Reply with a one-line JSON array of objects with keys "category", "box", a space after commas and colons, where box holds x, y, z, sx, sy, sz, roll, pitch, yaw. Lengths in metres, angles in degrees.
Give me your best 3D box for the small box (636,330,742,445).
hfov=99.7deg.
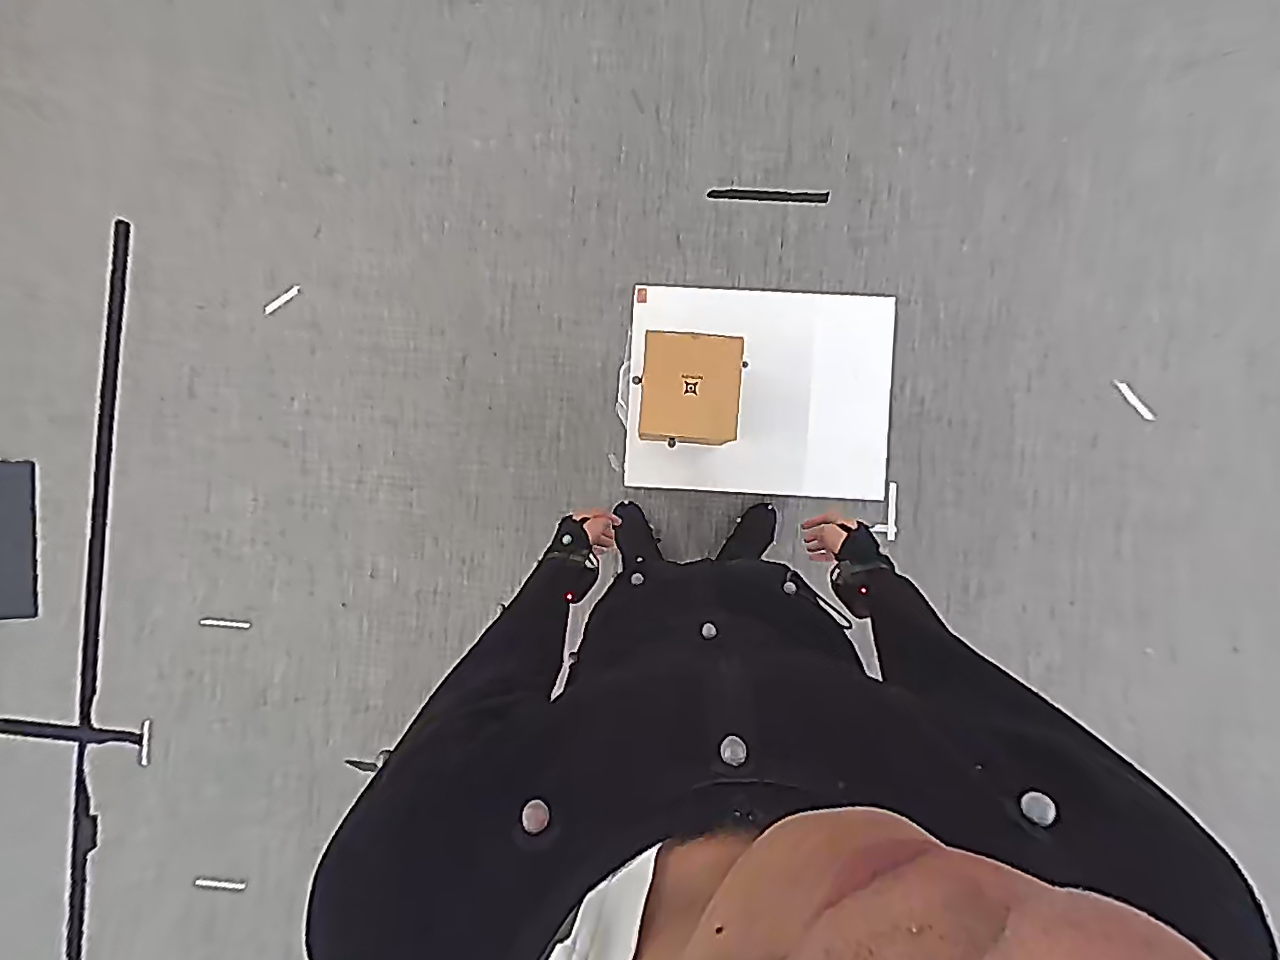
[{"category": "small box", "box": [0.084, -0.157, 0.976, 0.168, 0.176, 0.179, 4, 90, 1]}]
